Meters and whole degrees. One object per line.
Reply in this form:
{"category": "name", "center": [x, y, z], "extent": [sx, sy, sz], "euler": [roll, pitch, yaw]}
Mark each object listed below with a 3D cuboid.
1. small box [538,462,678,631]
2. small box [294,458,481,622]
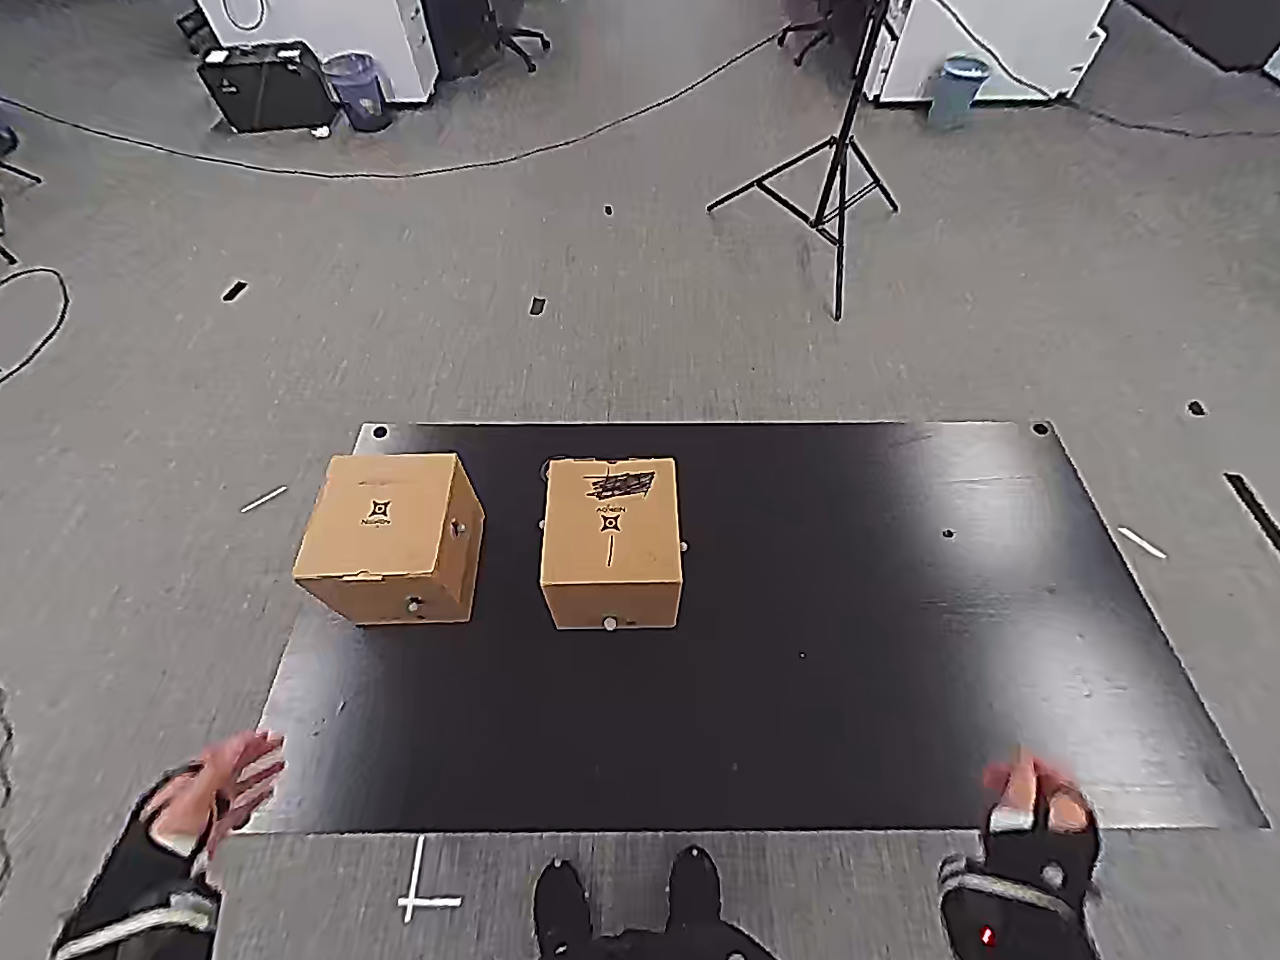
{"category": "small box", "center": [-0.039, 0.093, 0.737], "extent": [0.168, 0.176, 0.179], "euler": [-1, 57, 0]}
{"category": "small box", "center": [-0.325, 0.089, 0.741], "extent": [0.168, 0.176, 0.179], "euler": [-1, 56, -2]}
